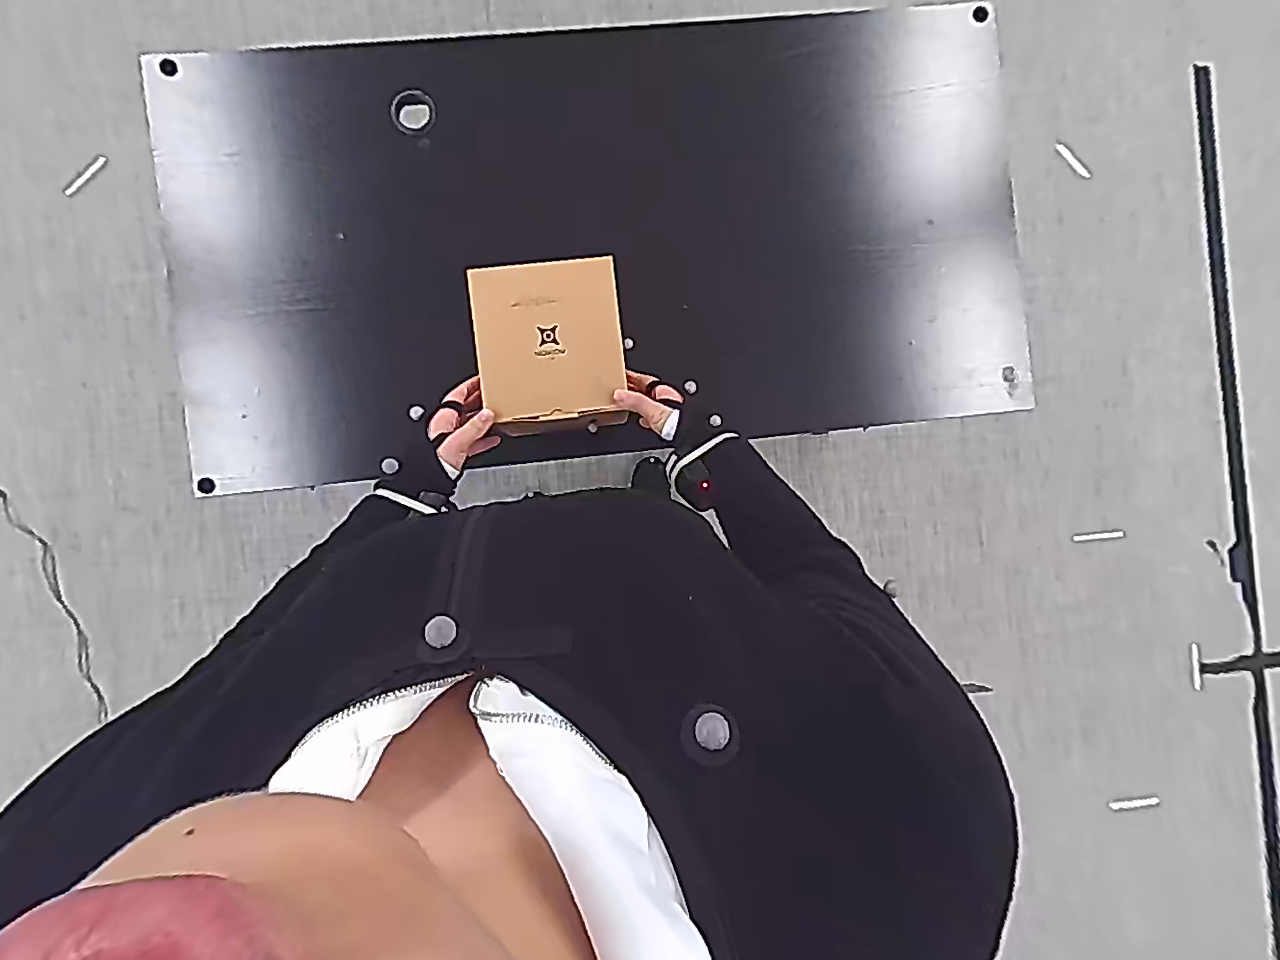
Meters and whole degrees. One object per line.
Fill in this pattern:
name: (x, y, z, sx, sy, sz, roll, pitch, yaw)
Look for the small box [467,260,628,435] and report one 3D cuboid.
small box: (-0.107, -0.153, 0.682, 0.168, 0.176, 0.179, -7, 90, -4)
